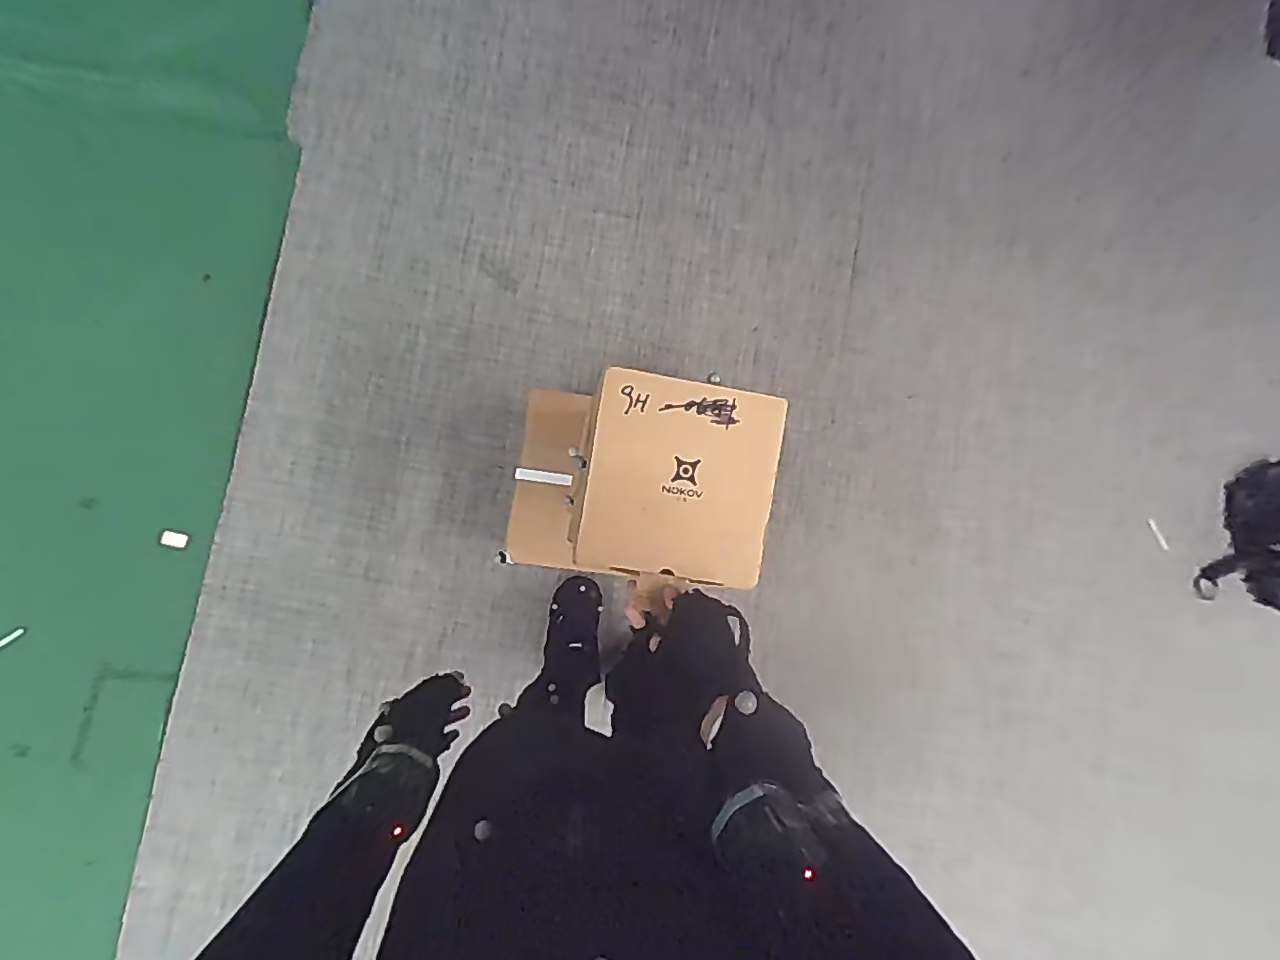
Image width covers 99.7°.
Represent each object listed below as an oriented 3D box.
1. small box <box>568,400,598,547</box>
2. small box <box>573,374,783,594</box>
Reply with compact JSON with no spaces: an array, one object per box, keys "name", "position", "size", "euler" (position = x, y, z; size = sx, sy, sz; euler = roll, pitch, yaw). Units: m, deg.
[{"name":"small box","position":[0.000,0.003,0.719],"size":[0.168,0.176,0.179],"euler":[9,89,-8]},{"name":"small box","position":[0.027,0.002,0.558],"size":[0.168,0.176,0.179],"euler":[9,92,-7]}]
